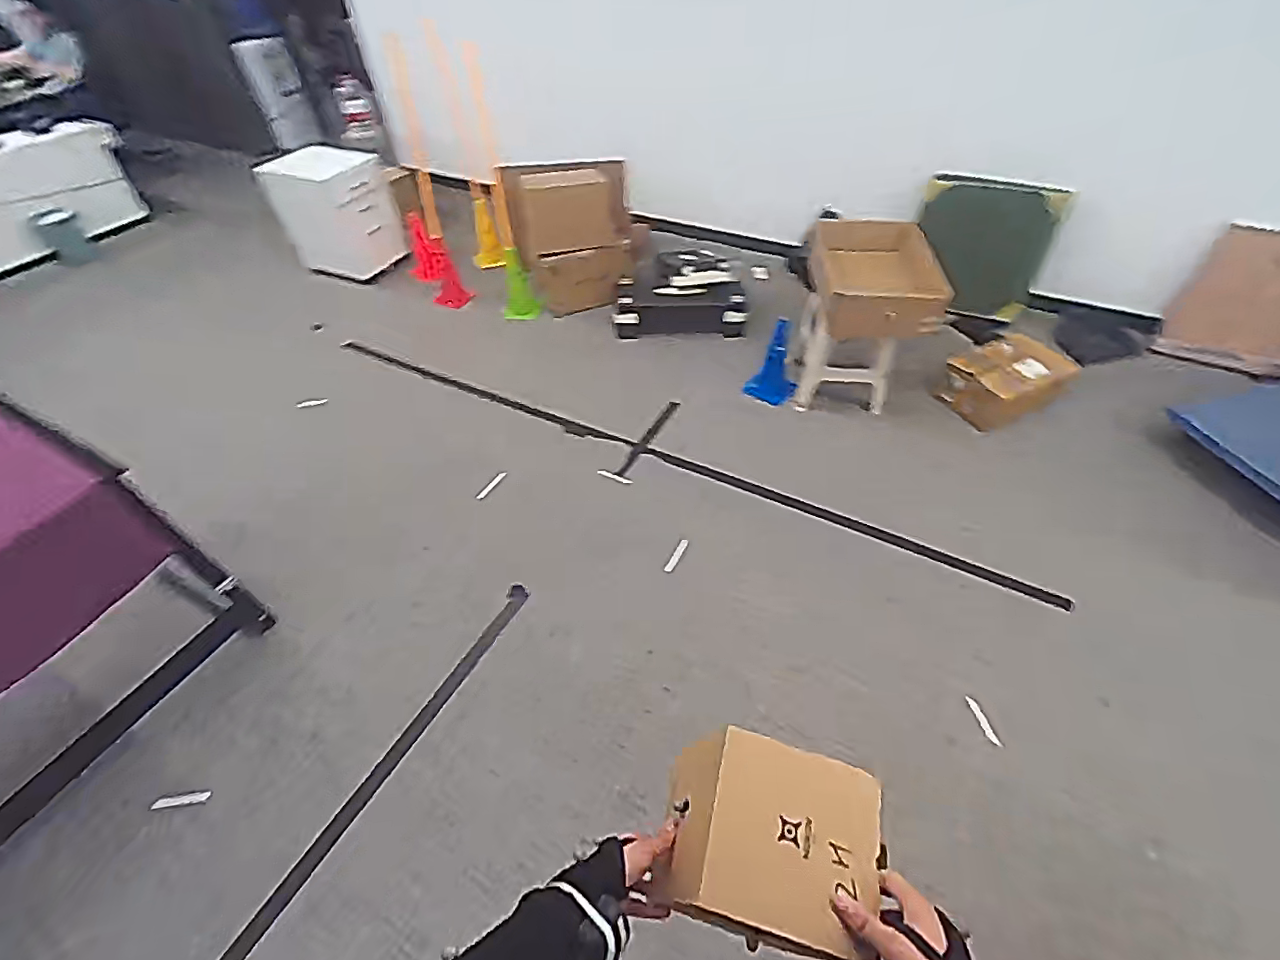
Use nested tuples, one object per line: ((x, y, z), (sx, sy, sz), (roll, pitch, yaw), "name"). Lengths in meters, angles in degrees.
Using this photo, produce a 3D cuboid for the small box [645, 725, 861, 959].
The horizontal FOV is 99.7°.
((0.121, 0.404, 0.606), (0.179, 0.176, 0.168), (23, 51, -3), "small box")
